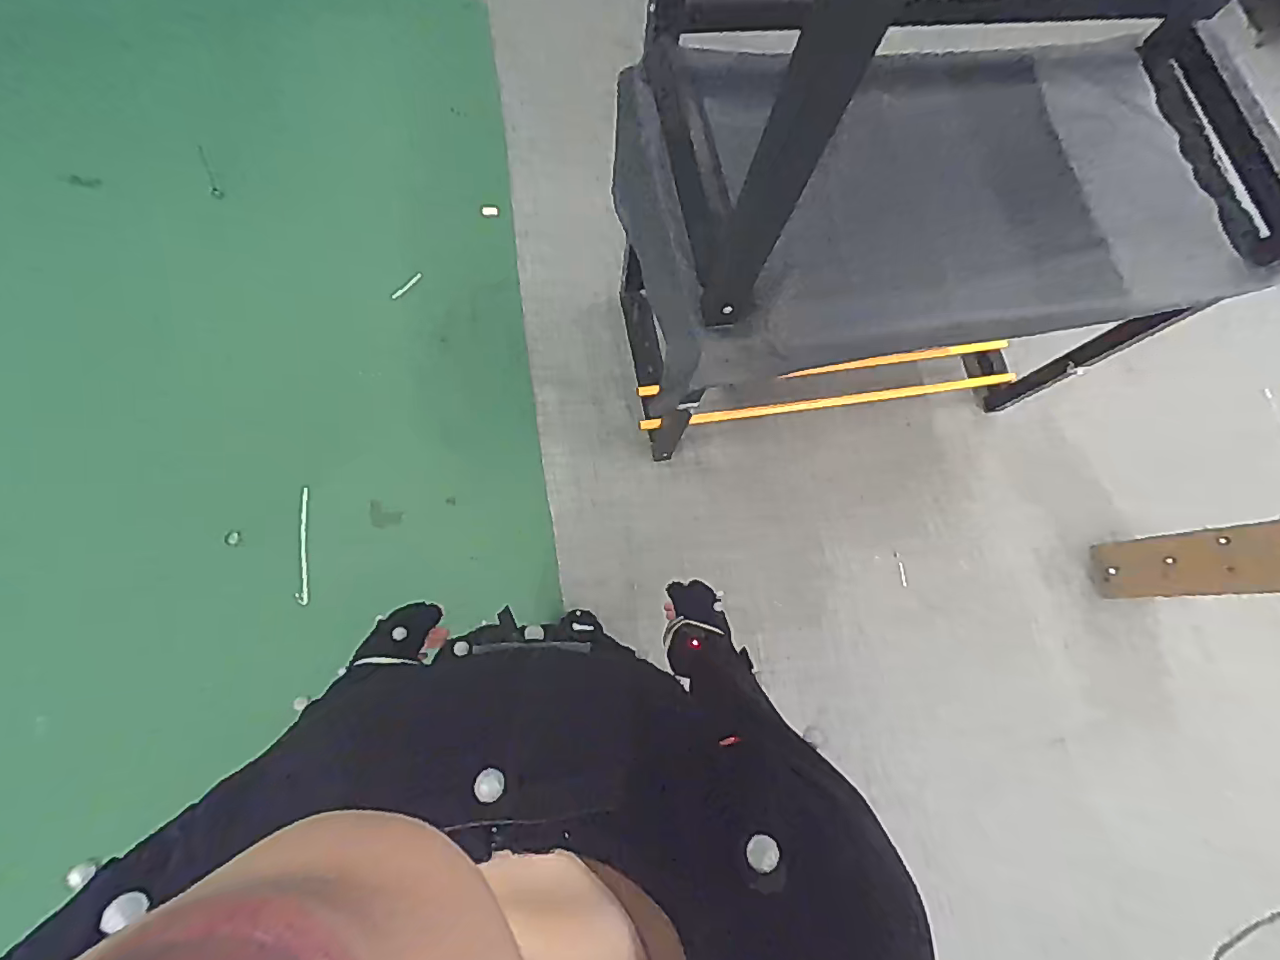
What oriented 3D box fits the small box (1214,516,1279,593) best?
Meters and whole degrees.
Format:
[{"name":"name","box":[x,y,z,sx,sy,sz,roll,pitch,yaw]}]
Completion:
[{"name":"small box","box":[1.525,0.172,1.274,0.179,0.176,0.168,-5,77,-7]}]

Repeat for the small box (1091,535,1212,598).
[{"name":"small box","box":[1.493,0.256,1.588,0.179,0.176,0.168,-3,75,-6]}]
